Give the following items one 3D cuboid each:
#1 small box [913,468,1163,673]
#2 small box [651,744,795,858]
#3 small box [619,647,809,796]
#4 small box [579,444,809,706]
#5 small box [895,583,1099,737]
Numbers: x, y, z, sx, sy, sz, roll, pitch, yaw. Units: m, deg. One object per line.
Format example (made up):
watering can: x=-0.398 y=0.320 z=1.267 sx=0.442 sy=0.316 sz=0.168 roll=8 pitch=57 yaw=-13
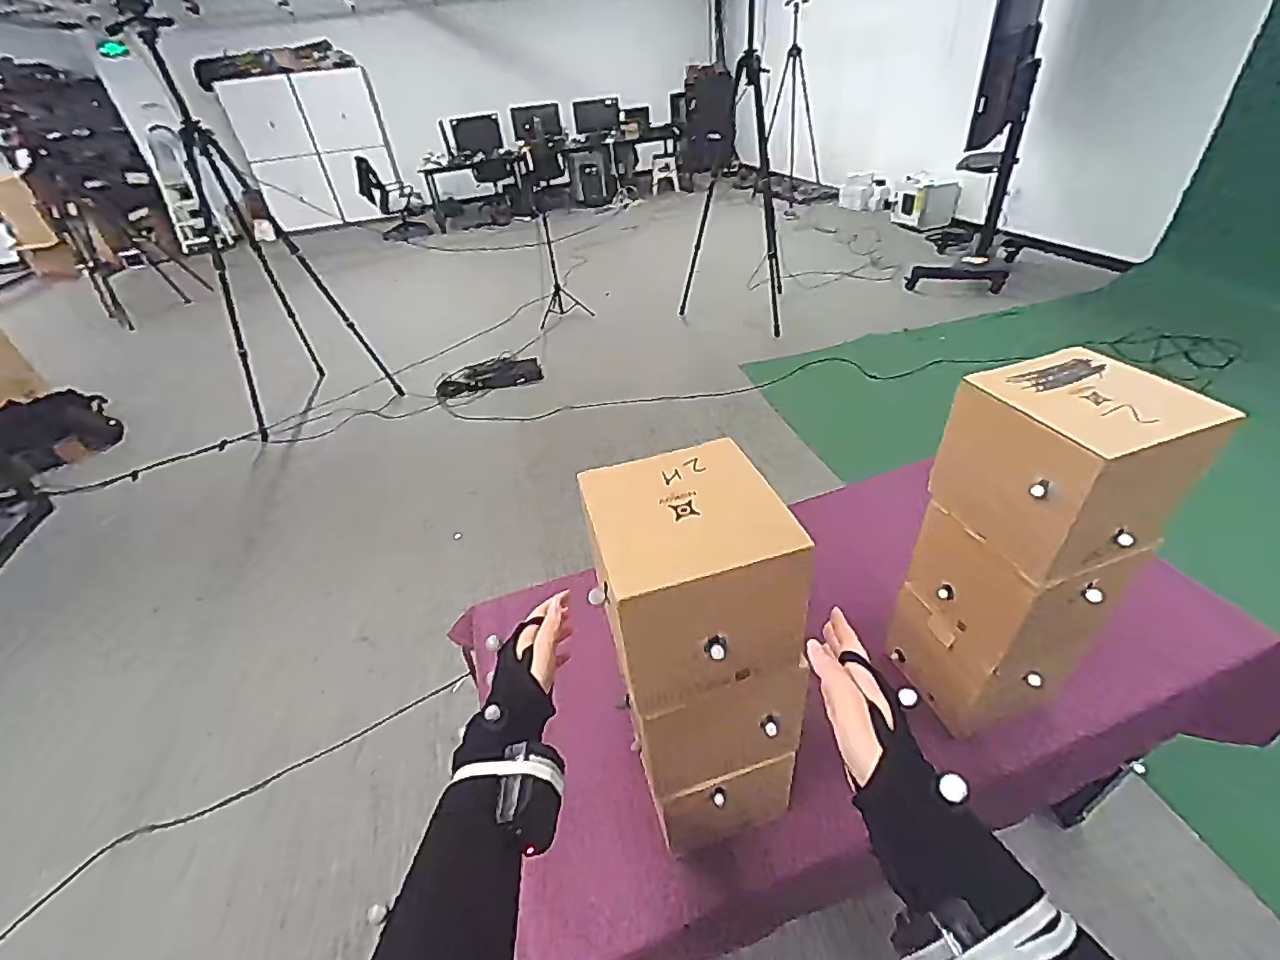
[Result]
small box: x=0.489 y=0.114 z=0.698 sx=0.179 sy=0.176 sz=0.168 roll=-16 pitch=39 yaw=-10
small box: x=0.087 y=0.356 z=0.722 sx=0.168 sy=0.176 sz=0.179 roll=-15 pitch=37 yaw=-9
small box: x=0.071 y=0.225 z=0.624 sx=0.179 sy=0.176 sz=0.168 roll=-14 pitch=37 yaw=-8
small box: x=0.046 y=0.094 z=0.528 sx=0.168 sy=0.176 sz=0.179 roll=-13 pitch=37 yaw=-8
small box: x=0.503 y=0.244 z=0.796 sx=0.179 sy=0.176 sz=0.168 roll=-15 pitch=38 yaw=-11
